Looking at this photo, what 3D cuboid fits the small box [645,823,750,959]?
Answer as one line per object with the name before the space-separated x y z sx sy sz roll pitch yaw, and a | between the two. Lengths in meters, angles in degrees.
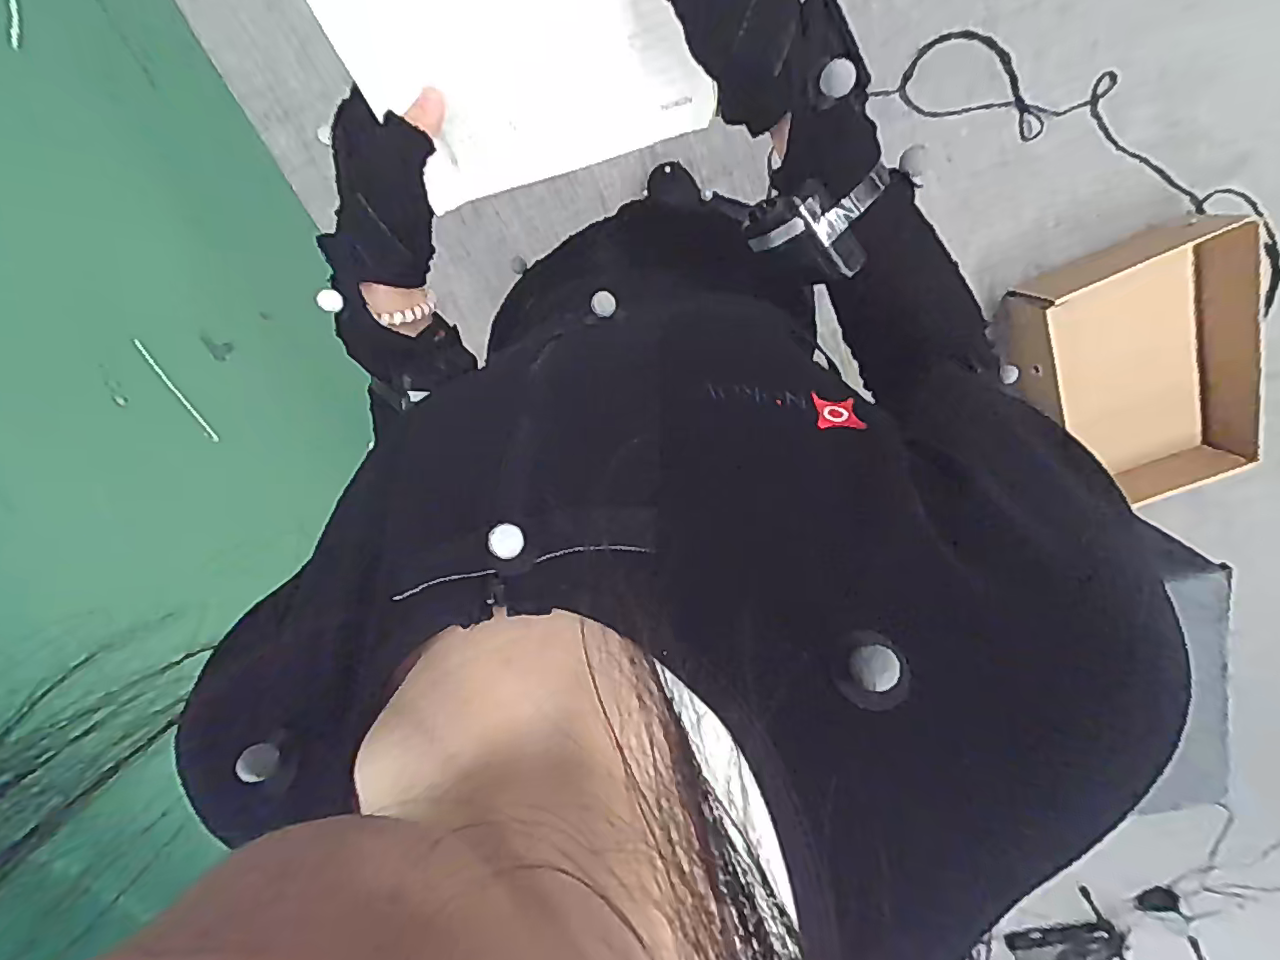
small box | 0.117 0.844 1.110 0.168 0.176 0.179 -18 114 11
